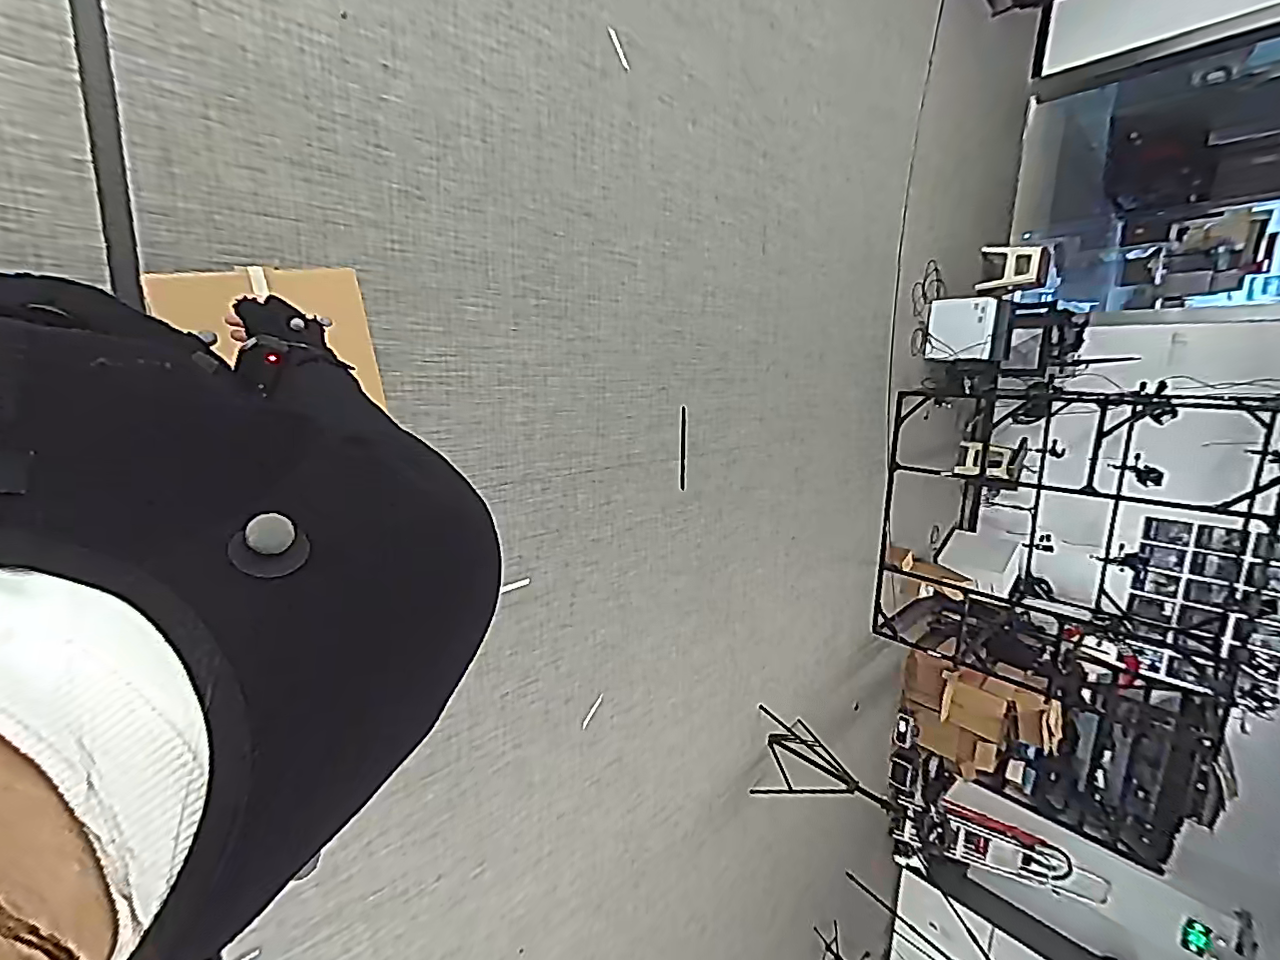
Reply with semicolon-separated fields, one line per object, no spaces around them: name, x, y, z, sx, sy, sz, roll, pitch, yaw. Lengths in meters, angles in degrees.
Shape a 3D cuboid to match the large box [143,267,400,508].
large box;-0.734;-0.204;1.105;0.320;0.320;0.408;-17;112;-33
